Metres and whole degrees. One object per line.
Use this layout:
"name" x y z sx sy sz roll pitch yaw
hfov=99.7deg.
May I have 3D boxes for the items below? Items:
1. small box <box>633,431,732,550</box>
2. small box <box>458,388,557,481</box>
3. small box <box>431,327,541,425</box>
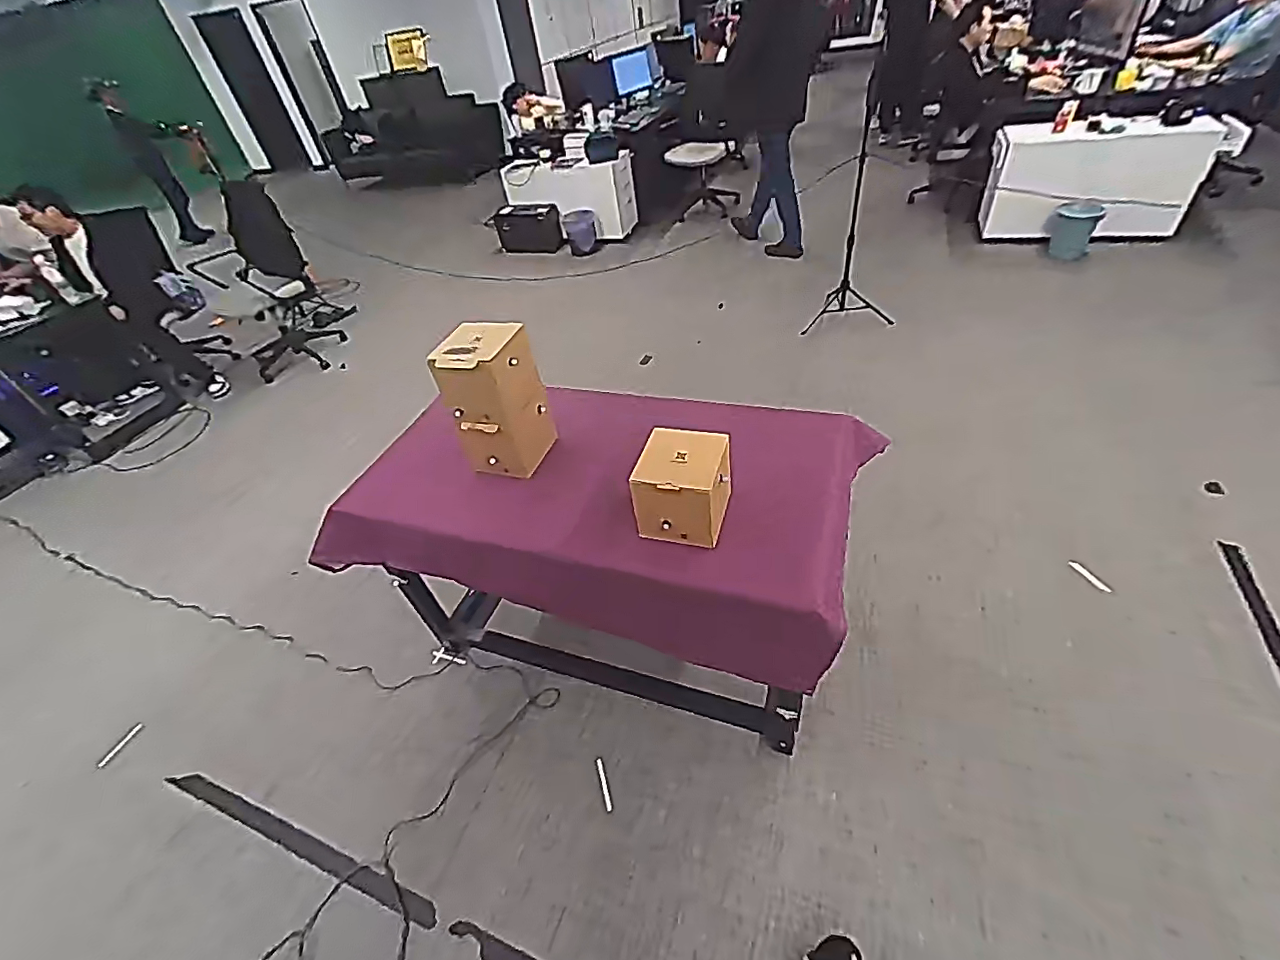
"small box" 0.098 0.020 1.145 0.168 0.176 0.179 7 45 19
"small box" -0.328 -0.125 1.385 0.168 0.176 0.179 8 46 20
"small box" -0.351 -0.245 1.276 0.168 0.176 0.179 6 44 16
